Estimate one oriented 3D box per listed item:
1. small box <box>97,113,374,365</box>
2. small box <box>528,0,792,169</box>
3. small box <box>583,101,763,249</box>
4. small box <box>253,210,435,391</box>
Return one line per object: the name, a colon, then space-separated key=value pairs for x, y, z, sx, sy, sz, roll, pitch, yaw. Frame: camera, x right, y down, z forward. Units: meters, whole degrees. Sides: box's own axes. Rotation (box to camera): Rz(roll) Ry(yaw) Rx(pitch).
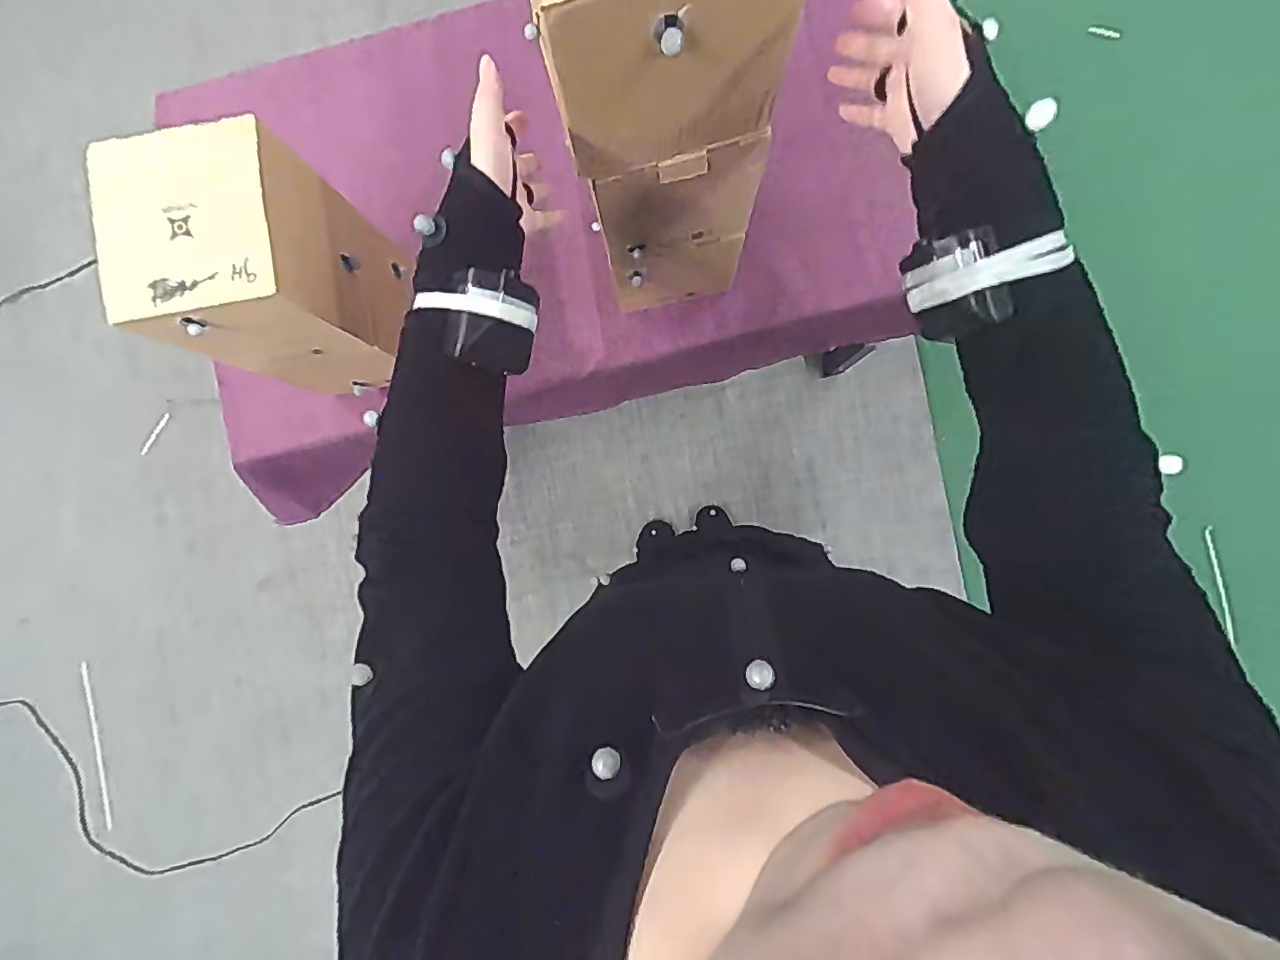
small box: x=-0.415 y=-0.240 z=0.580 sx=0.168 sy=0.176 sz=0.179 roll=-9 pitch=86 yaw=4
small box: x=0.004 y=-0.374 z=0.399 sx=0.179 sy=0.176 sz=0.168 roll=-16 pitch=87 yaw=4
small box: x=0.017 y=-0.365 z=0.561 sx=0.168 sy=0.176 sz=0.179 roll=-15 pitch=86 yaw=3
small box: x=-0.405 y=-0.234 z=0.745 sx=0.168 sy=0.176 sz=0.179 roll=-9 pitch=88 yaw=3
